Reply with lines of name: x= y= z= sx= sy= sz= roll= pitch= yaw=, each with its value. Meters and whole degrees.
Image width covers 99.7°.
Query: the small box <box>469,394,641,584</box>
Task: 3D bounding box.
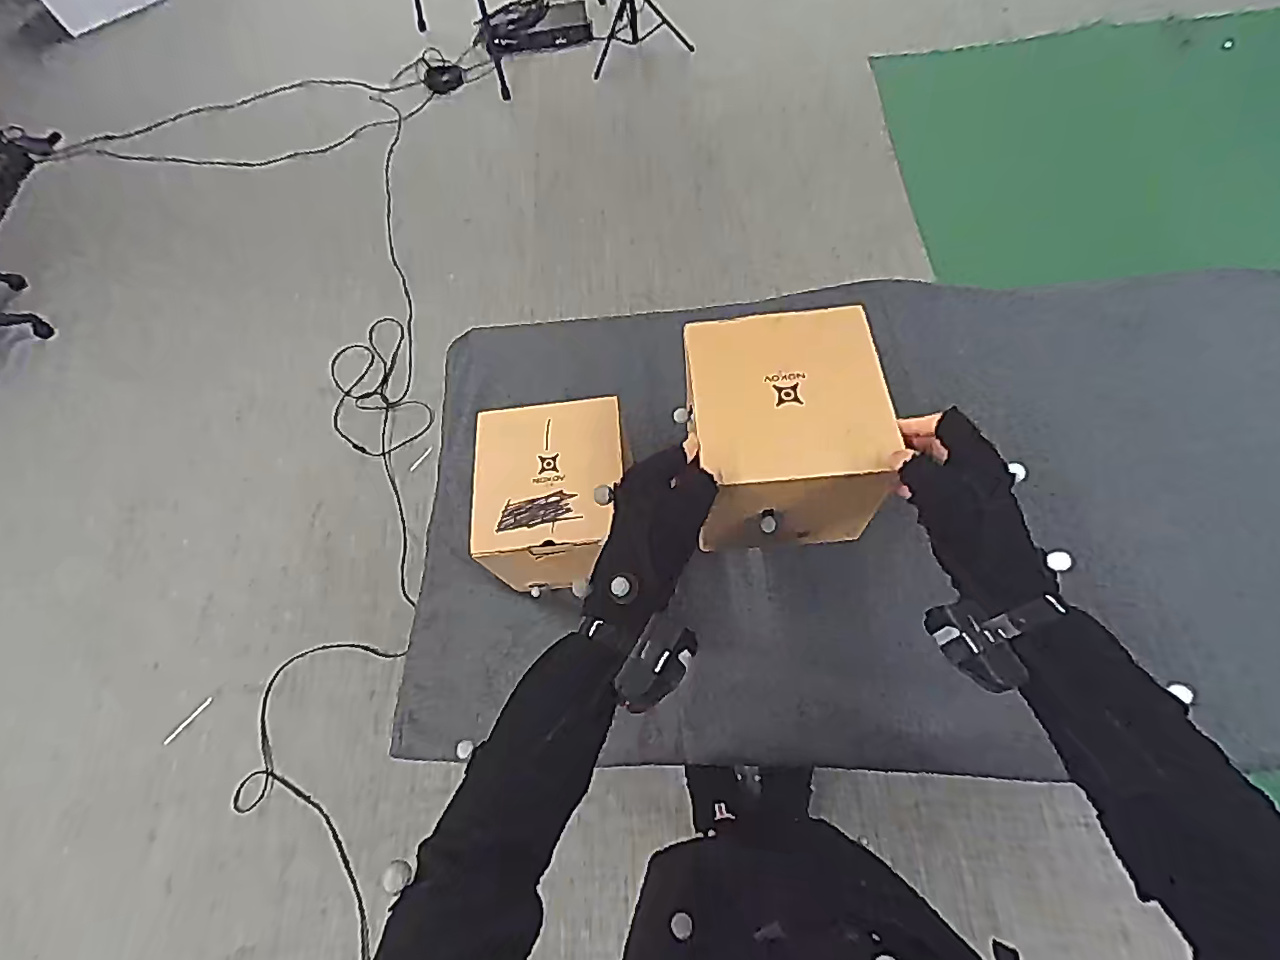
small box: x=-0.092 y=0.022 z=0.652 sx=0.168 sy=0.176 sz=0.179 roll=-6 pitch=64 yaw=3

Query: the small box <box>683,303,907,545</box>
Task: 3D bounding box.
small box: x=0.135 y=-0.042 z=0.535 sx=0.168 sy=0.176 sz=0.179 roll=-6 pitch=62 yaw=5
